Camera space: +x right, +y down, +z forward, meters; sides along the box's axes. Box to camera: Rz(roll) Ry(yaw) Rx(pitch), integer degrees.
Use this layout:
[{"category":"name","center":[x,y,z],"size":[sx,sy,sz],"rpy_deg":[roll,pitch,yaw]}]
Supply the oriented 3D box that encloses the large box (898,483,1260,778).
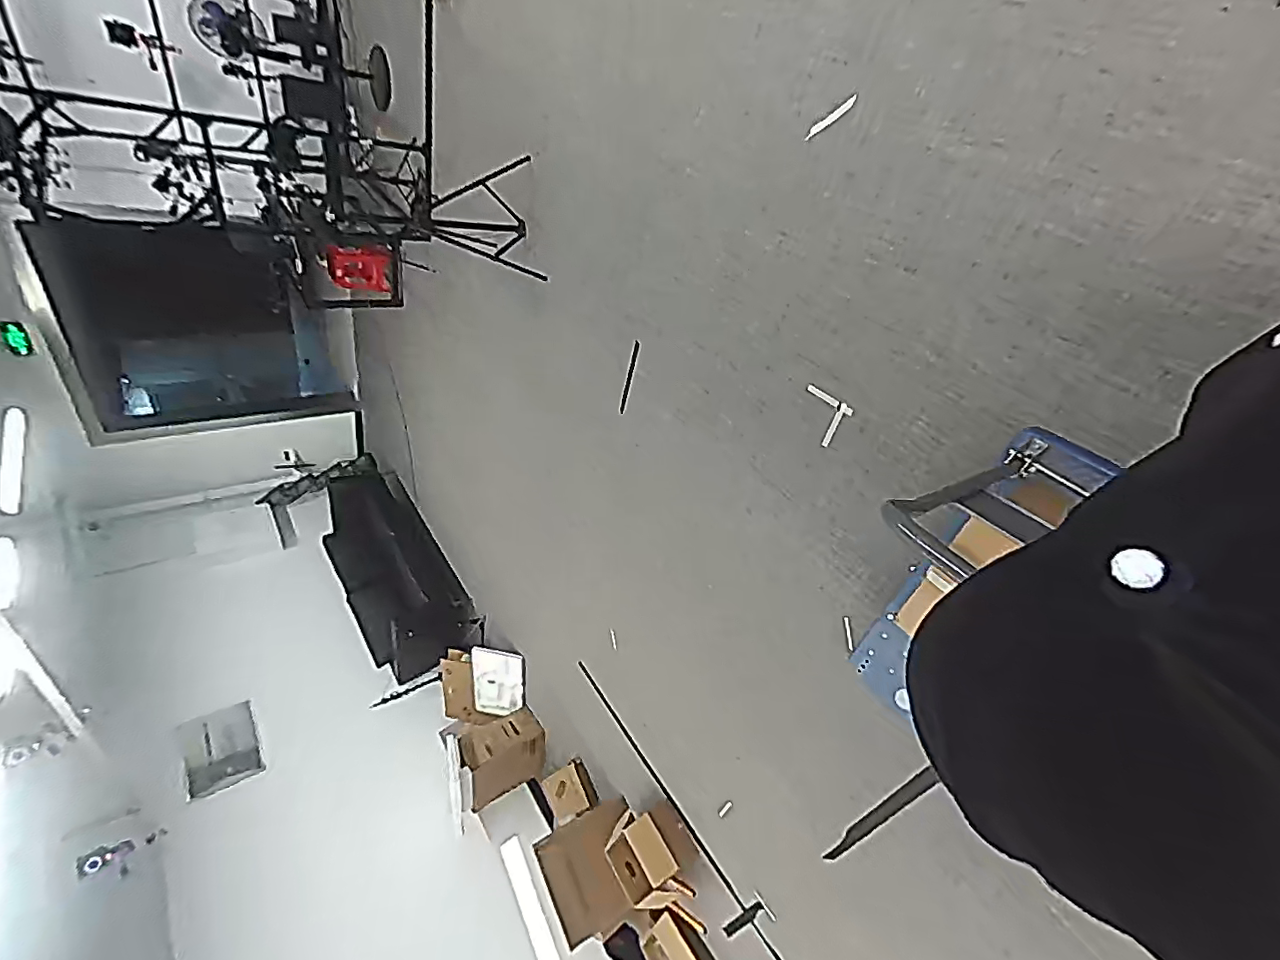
[{"category":"large box","center":[0.823,0.263,1.057],"size":[0.408,0.320,0.320],"rpy_deg":[46,135,36]}]
